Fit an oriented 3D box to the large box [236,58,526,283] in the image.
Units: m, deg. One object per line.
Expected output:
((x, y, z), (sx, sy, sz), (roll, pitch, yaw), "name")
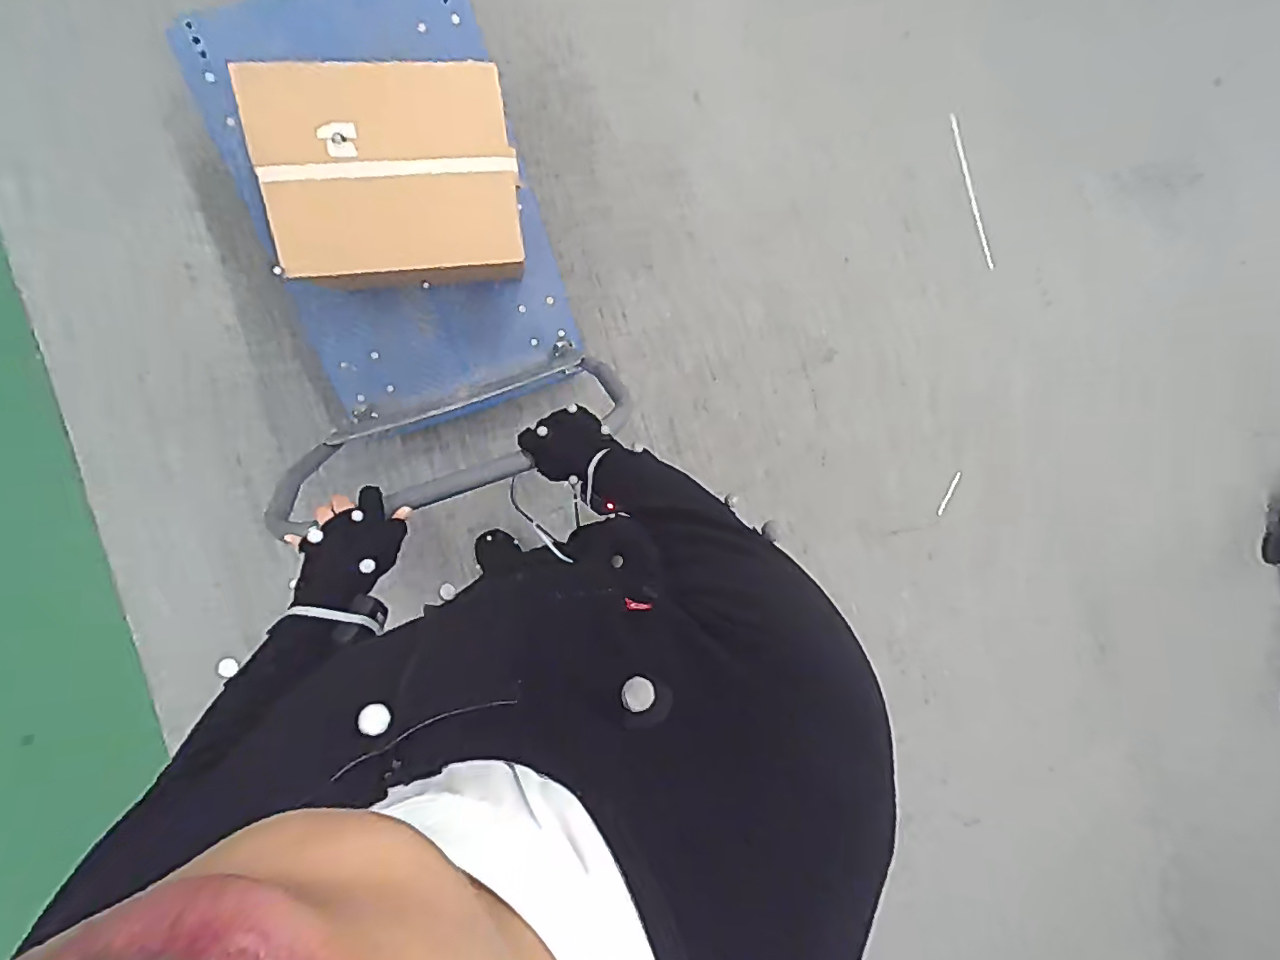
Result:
((-0.445, -0.564, 1.044), (0.408, 0.320, 0.320), (-8, 107, -10), "large box")
